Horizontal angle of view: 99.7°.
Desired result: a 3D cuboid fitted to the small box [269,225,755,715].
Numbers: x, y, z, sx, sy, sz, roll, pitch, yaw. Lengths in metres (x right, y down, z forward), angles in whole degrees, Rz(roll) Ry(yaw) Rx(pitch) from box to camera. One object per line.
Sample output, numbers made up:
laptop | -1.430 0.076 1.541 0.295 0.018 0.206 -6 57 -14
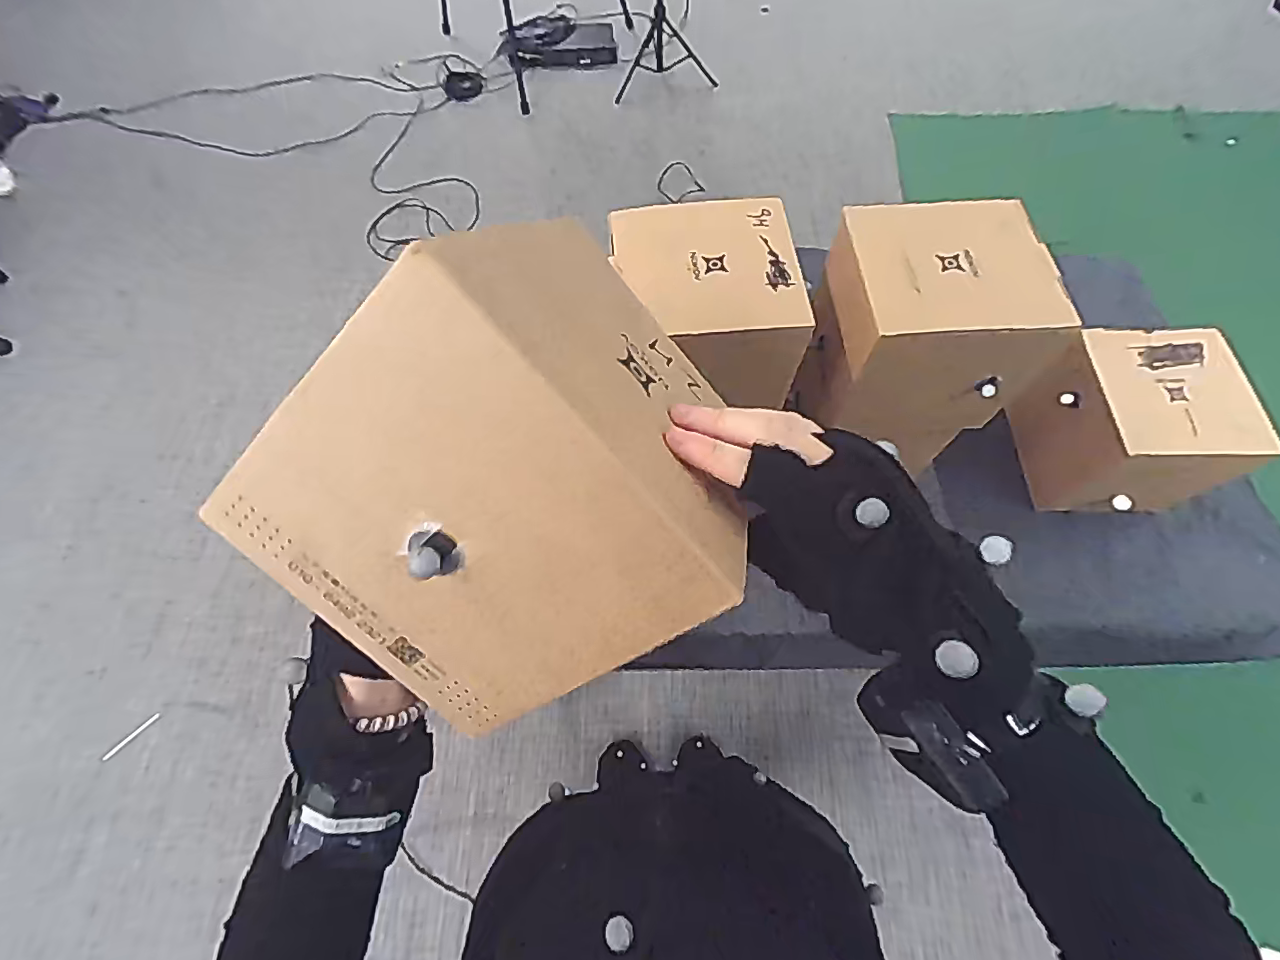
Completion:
small box | -0.057 -0.009 0.295 0.176 0.179 0.168 -35 105 26

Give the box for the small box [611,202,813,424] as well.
small box | 0.068 -0.165 0.585 0.179 0.176 0.168 -5 65 1
